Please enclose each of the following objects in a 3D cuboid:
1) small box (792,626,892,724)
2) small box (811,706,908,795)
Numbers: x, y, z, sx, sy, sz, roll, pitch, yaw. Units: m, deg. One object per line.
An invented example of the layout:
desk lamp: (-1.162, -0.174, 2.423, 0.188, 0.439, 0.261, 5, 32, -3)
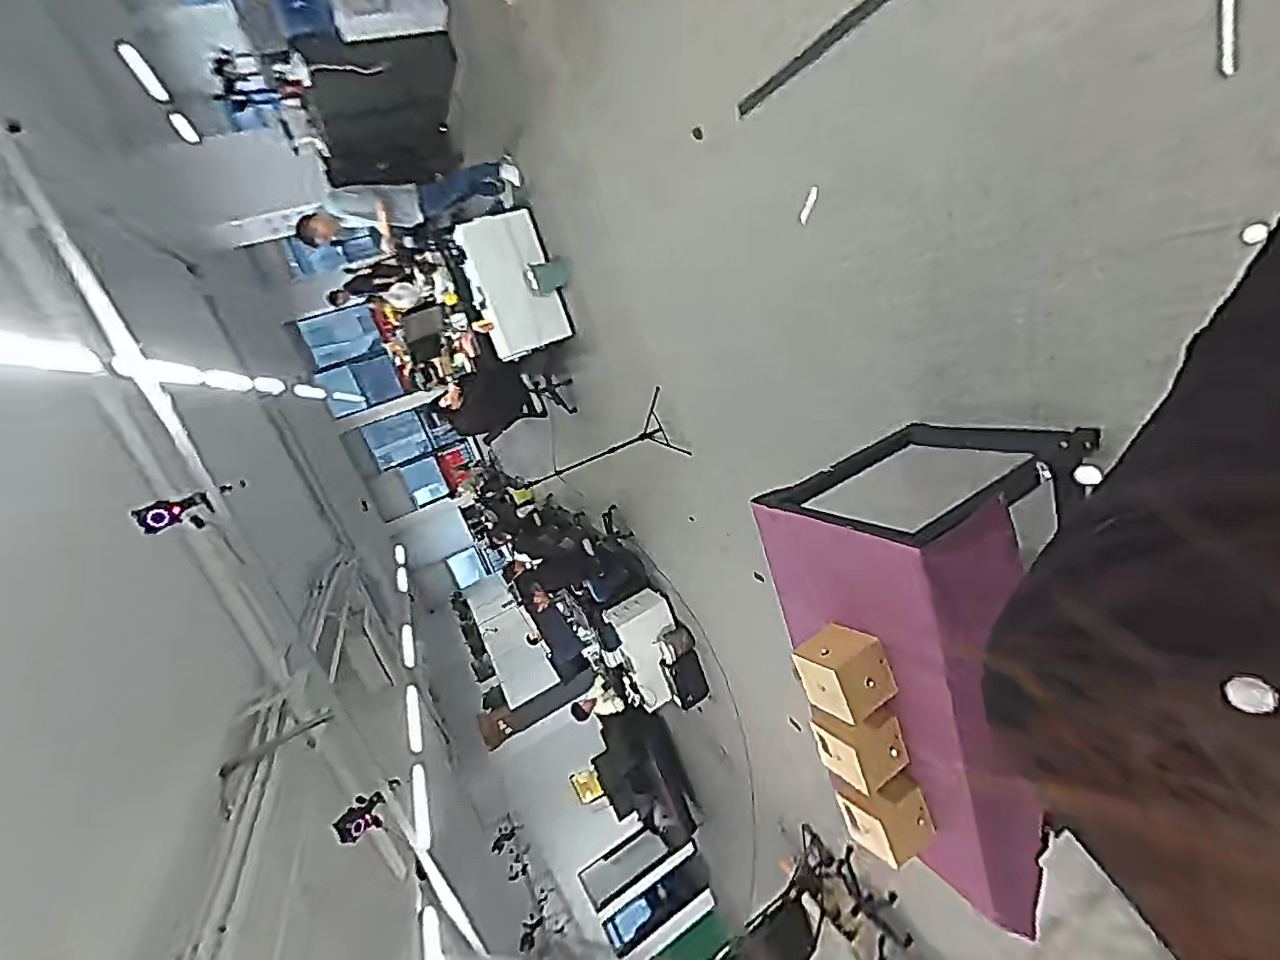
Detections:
small box: (0.557, 0.521, 1.476, 0.168, 0.176, 0.179, 68, 160, -7)
small box: (0.631, 0.750, 1.558, 0.179, 0.176, 0.168, 9, 122, 65)
